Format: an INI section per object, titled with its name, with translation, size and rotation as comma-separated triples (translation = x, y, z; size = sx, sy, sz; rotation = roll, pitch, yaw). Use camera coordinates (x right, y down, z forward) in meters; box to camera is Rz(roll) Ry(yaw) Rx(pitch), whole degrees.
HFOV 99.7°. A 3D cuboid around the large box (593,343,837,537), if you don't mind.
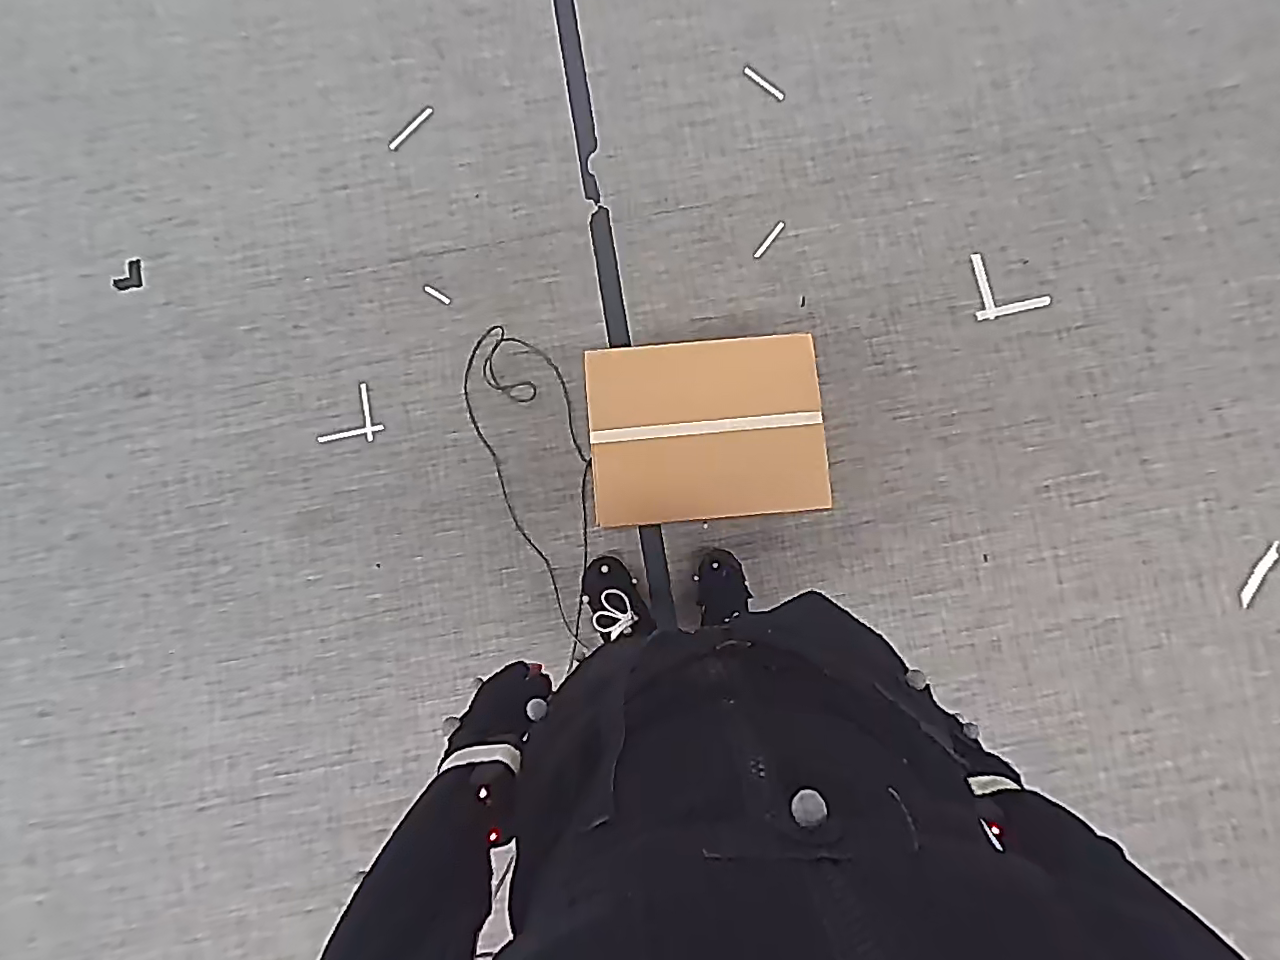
[large box]
translation = 0.128, -0.057, 1.087
size = 0.408, 0.320, 0.320
rotation = -5, 85, 0
